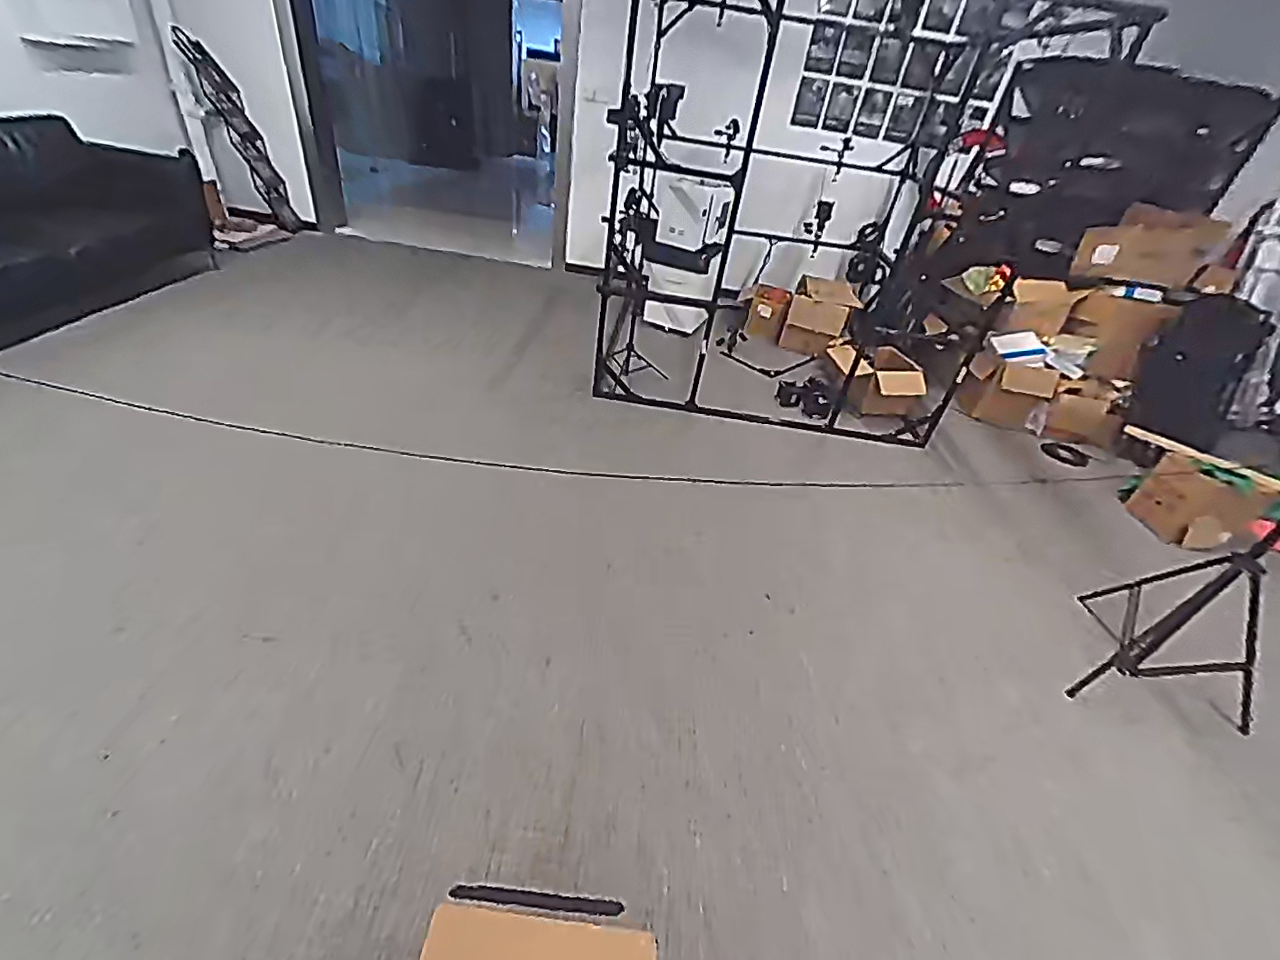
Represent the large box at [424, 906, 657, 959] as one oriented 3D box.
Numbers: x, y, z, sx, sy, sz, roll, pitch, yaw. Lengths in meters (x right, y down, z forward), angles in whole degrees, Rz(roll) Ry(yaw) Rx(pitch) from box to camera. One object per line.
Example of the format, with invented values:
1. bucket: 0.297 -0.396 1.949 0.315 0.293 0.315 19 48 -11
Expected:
1. large box: -0.197 1.006 0.943 0.408 0.320 0.320 9 36 -2
